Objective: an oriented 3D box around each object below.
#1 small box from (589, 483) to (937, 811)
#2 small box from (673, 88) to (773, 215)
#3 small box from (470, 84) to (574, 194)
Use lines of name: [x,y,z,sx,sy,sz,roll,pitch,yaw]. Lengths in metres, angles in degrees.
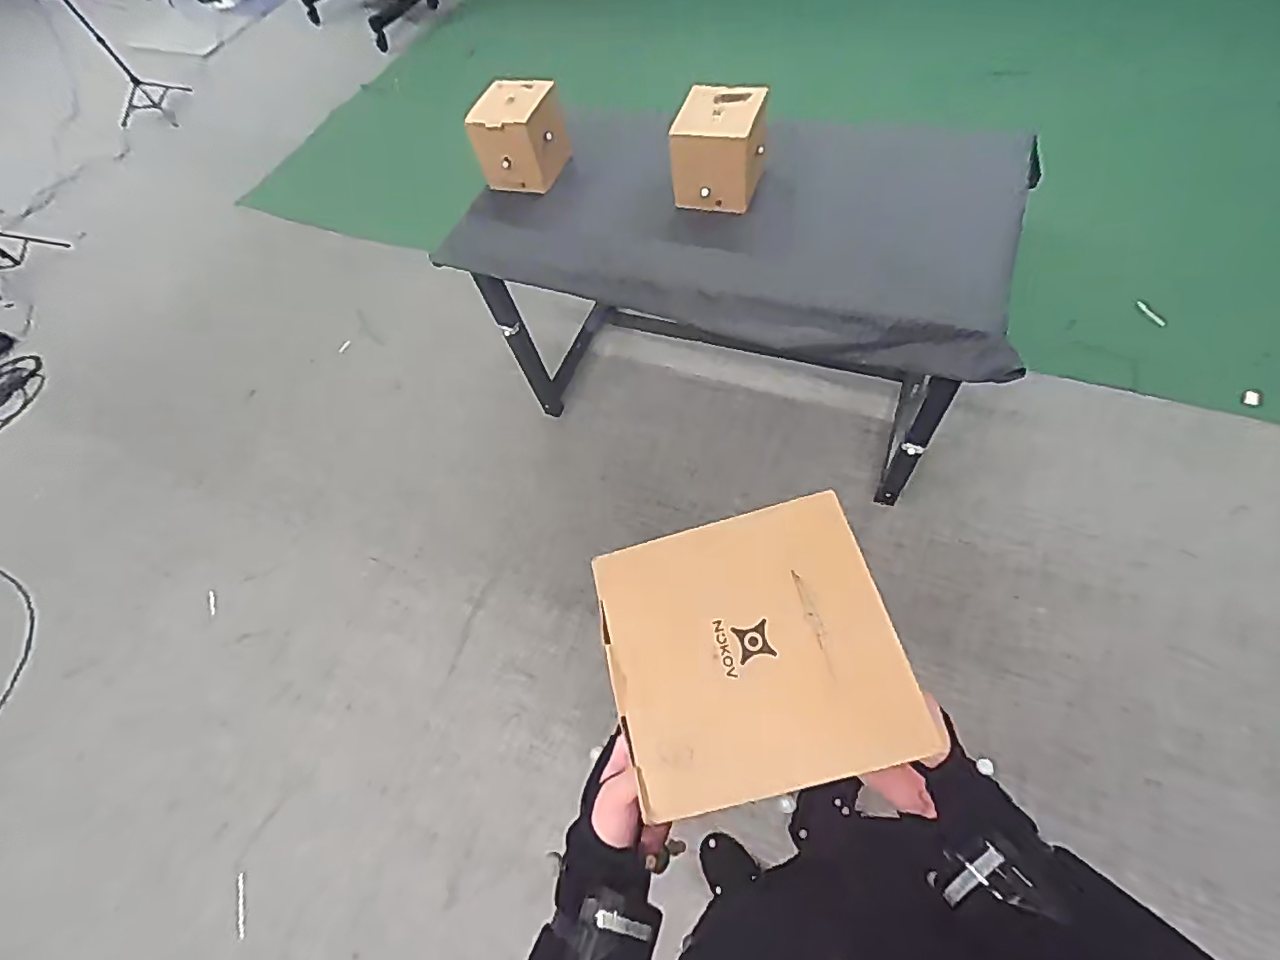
small box: [0.078,0.128,0.407,0.179,0.176,0.168,-17,65,3]
small box: [0.182,-0.712,1.175,0.168,0.176,0.179,15,66,18]
small box: [-0.279,-0.833,1.327,0.168,0.176,0.179,13,65,16]
